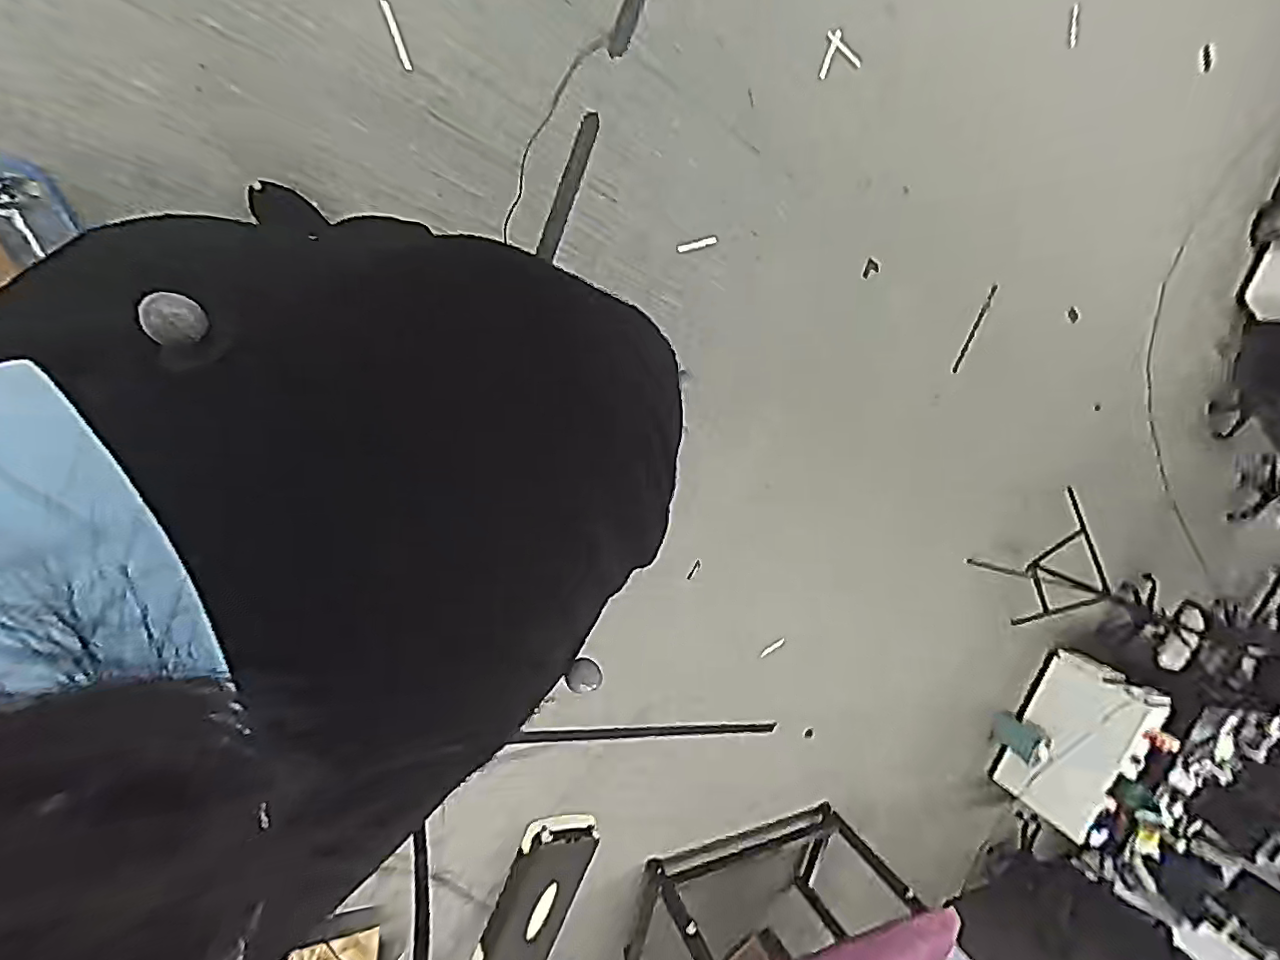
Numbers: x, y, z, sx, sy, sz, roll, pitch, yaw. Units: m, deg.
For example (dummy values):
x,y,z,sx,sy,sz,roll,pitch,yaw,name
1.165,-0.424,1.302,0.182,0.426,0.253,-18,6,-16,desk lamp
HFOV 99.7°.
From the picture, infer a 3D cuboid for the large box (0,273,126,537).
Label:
x,y,z,sx,sy,sz,roll,pitch,yaw,name
-1.048,-0.107,0.742,0.320,0.320,0.408,-23,117,-21,large box
